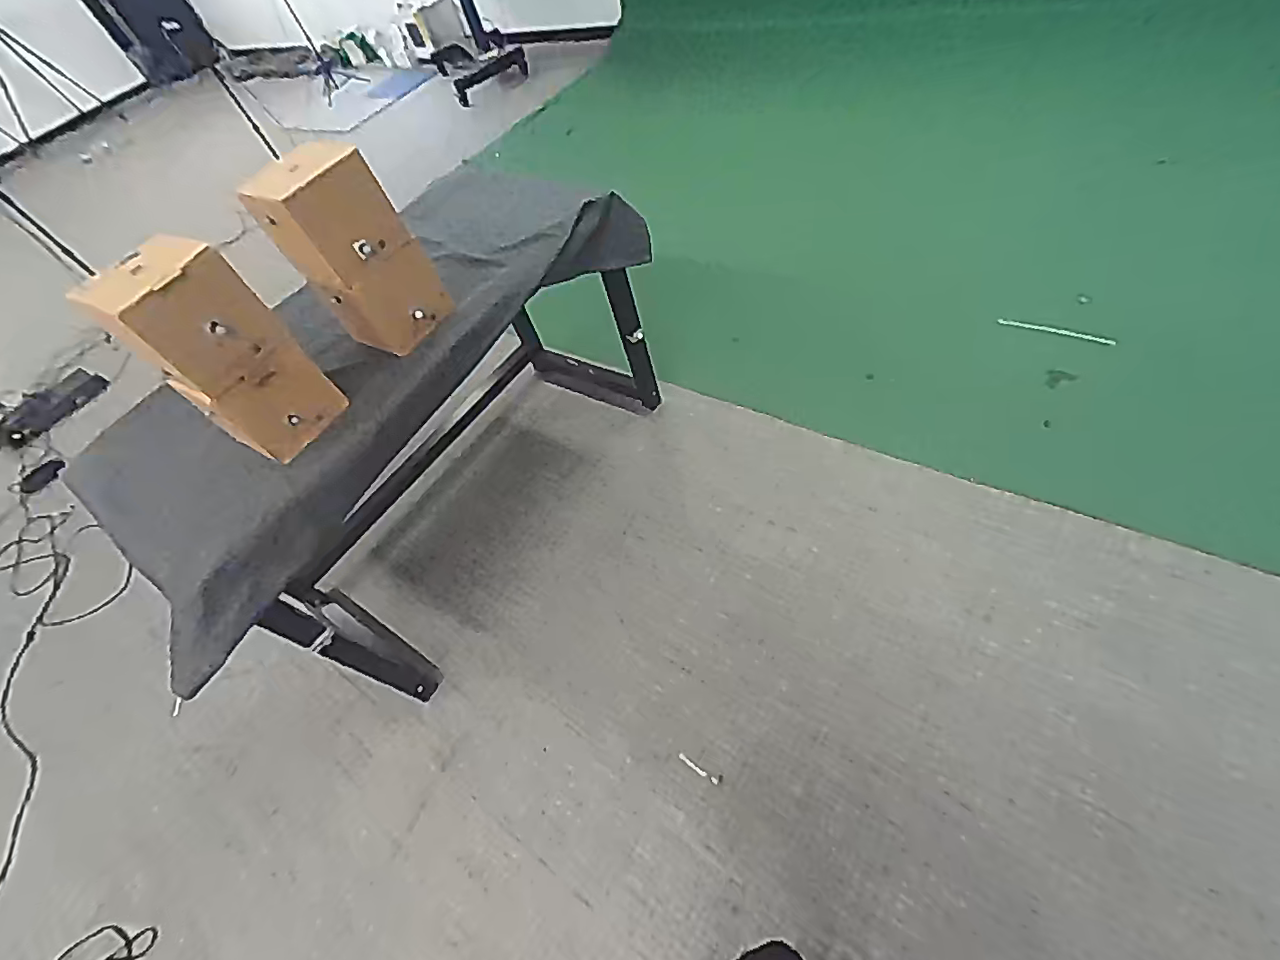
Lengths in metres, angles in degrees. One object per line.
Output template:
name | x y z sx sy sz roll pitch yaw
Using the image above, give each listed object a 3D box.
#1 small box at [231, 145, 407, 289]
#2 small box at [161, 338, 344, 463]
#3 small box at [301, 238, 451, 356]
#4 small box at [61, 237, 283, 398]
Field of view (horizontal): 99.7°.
small box | -0.563 -0.467 0.966 0.179 0.176 0.168 23 65 28
small box | -0.691 -0.154 0.982 0.179 0.176 0.168 20 62 27
small box | -0.526 -0.376 1.095 0.179 0.176 0.168 21 63 28
small box | -0.721 -0.252 0.854 0.179 0.176 0.168 19 61 25
